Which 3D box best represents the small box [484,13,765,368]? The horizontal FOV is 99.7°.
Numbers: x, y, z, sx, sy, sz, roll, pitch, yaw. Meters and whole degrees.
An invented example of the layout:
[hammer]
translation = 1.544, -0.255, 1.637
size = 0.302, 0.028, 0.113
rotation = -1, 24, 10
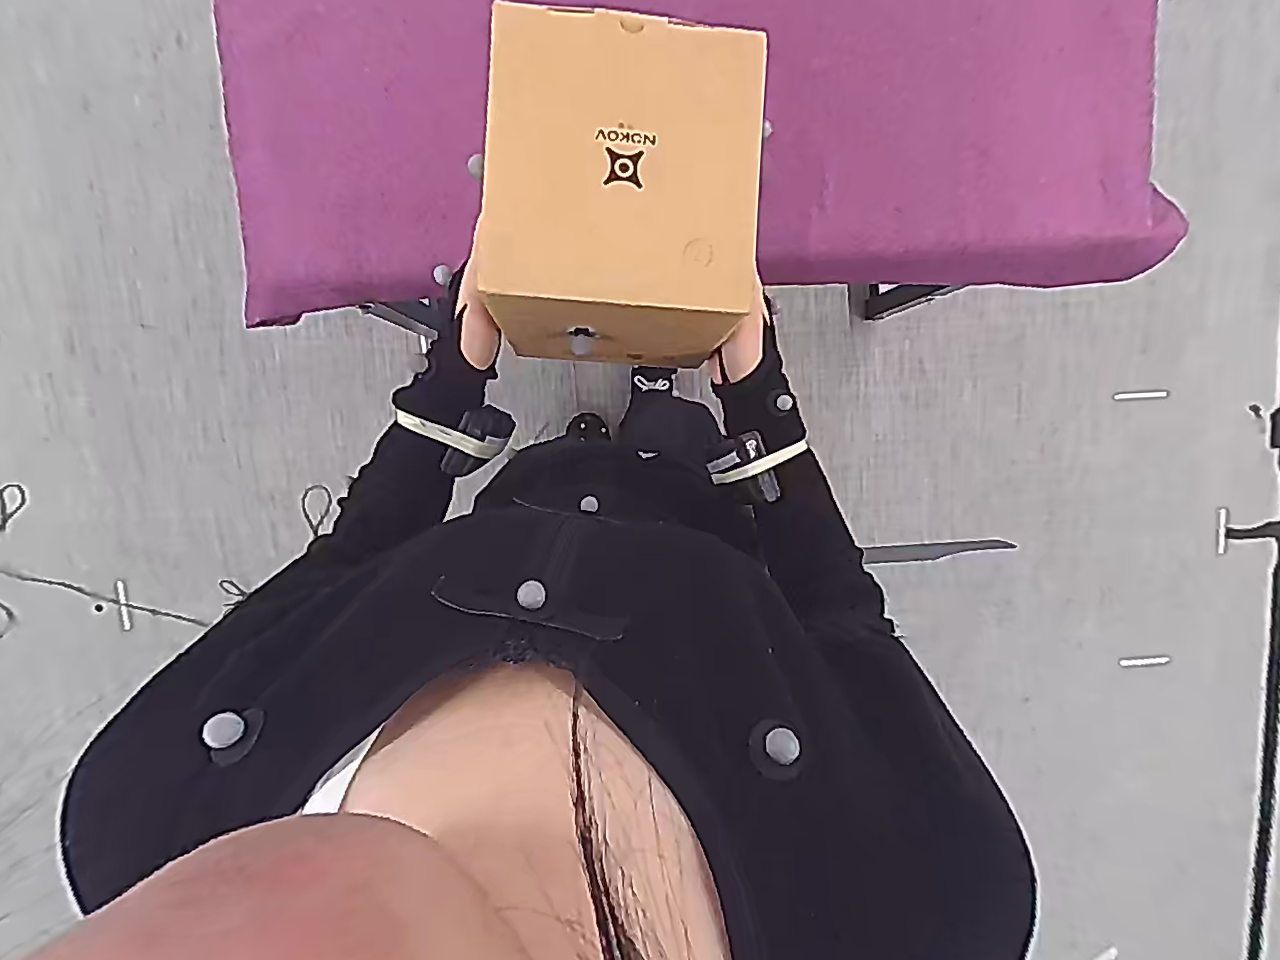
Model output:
[small box]
translation = -0.014, -0.190, 0.410
size = 0.168, 0.176, 0.179
rotation = 3, 88, -5
